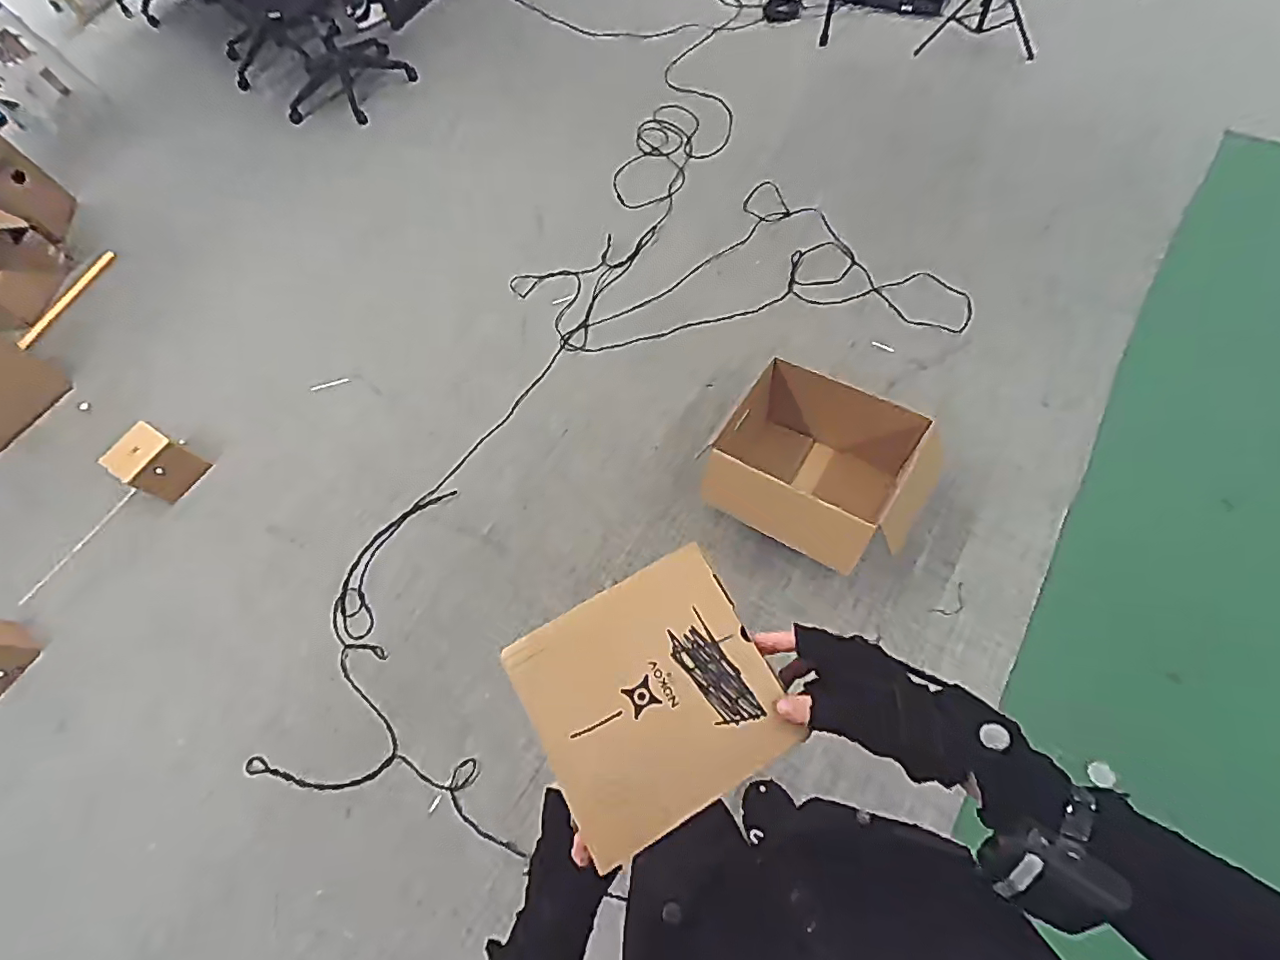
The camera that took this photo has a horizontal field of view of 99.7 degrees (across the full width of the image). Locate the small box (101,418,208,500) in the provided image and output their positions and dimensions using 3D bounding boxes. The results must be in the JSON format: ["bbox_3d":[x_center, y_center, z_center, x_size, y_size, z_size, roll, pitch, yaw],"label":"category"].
[{"bbox_3d":[-1.563,-0.064,1.759,0.168,0.176,0.179,27,72,18],"label":"small box"}]

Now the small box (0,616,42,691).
[{"bbox_3d":[-1.905,0.491,1.547,0.179,0.176,0.168,27,72,19],"label":"small box"}]

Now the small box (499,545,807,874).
[{"bbox_3d":[0.005,0.180,0.466,0.179,0.176,0.168,-27,73,-11],"label":"small box"}]
